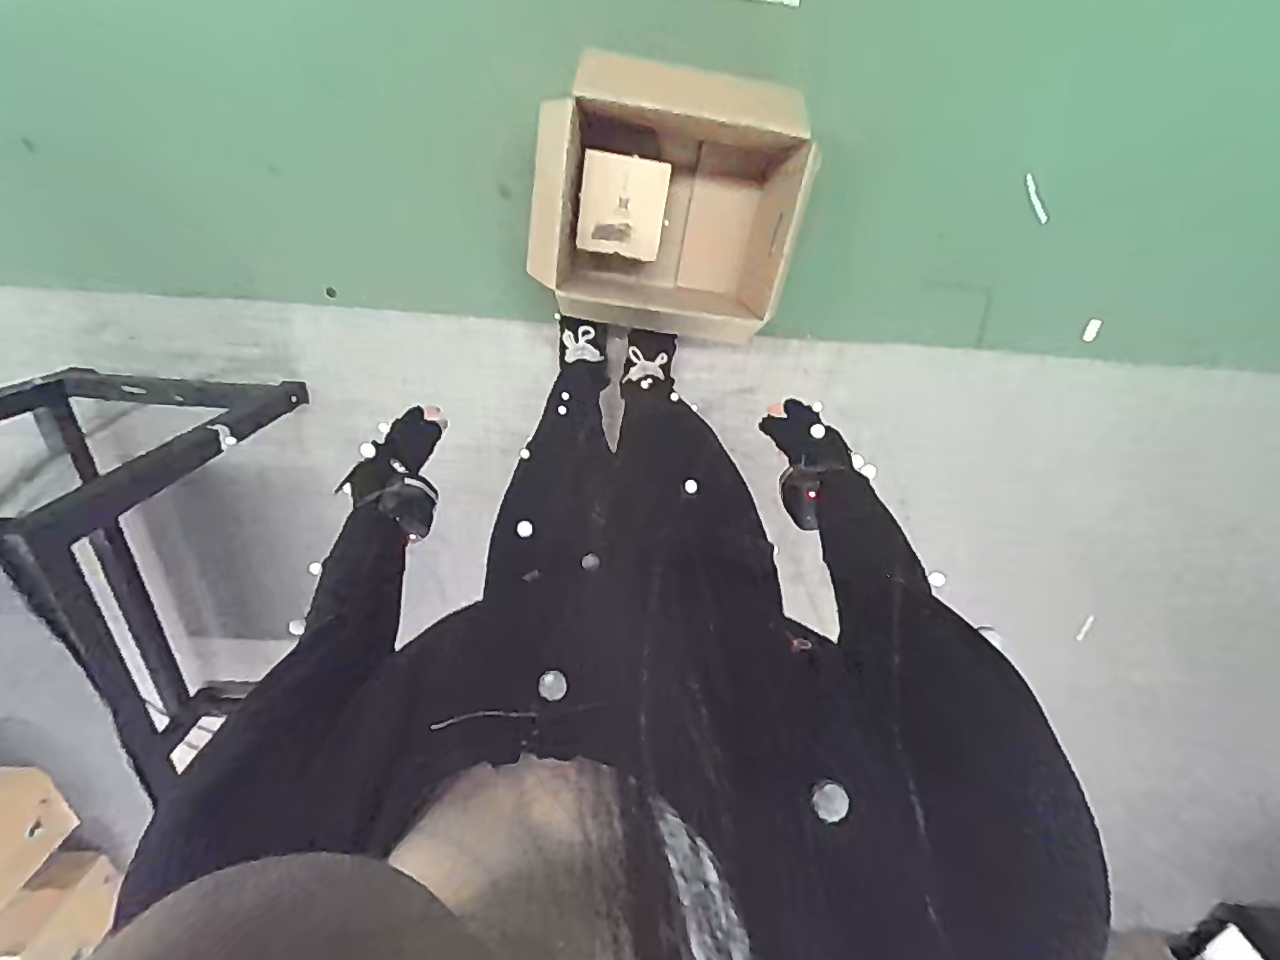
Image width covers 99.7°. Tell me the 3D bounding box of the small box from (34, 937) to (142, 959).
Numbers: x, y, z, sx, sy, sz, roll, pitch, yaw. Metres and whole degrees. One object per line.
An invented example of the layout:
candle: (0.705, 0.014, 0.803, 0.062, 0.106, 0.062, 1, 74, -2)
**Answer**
small box: (-1.166, 1.073, 1.099, 0.179, 0.176, 0.168, 7, 115, -3)

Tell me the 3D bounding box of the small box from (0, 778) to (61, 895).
small box: (-1.139, 0.612, 0.885, 0.179, 0.176, 0.168, 2, 115, -3)
